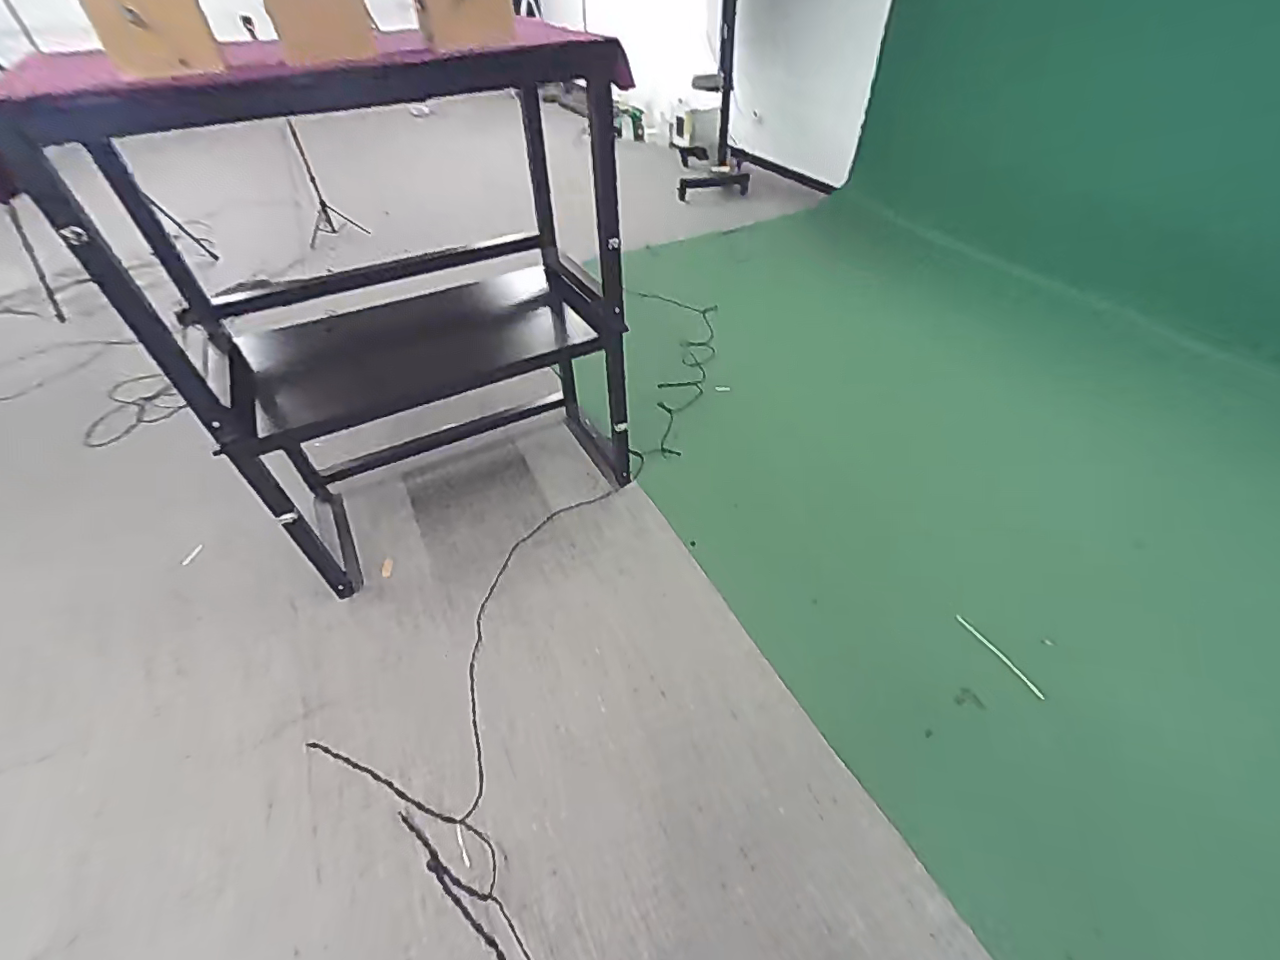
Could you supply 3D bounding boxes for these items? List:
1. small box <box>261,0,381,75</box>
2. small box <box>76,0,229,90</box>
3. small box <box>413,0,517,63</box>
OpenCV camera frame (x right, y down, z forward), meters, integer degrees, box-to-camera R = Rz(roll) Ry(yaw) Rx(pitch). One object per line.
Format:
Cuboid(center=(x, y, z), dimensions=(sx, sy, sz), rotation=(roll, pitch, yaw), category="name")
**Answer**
Cuboid(center=(-0.644, -0.924, 1.077), dimensions=(0.179, 0.176, 0.168), rotation=(-21, 47, -19), category="small box")
Cuboid(center=(-0.883, -0.825, 0.984), dimensions=(0.168, 0.176, 0.179), rotation=(-23, 47, -20), category="small box")
Cuboid(center=(-0.387, -1.025, 1.170), dimensions=(0.179, 0.176, 0.168), rotation=(-23, 50, -18), category="small box")
